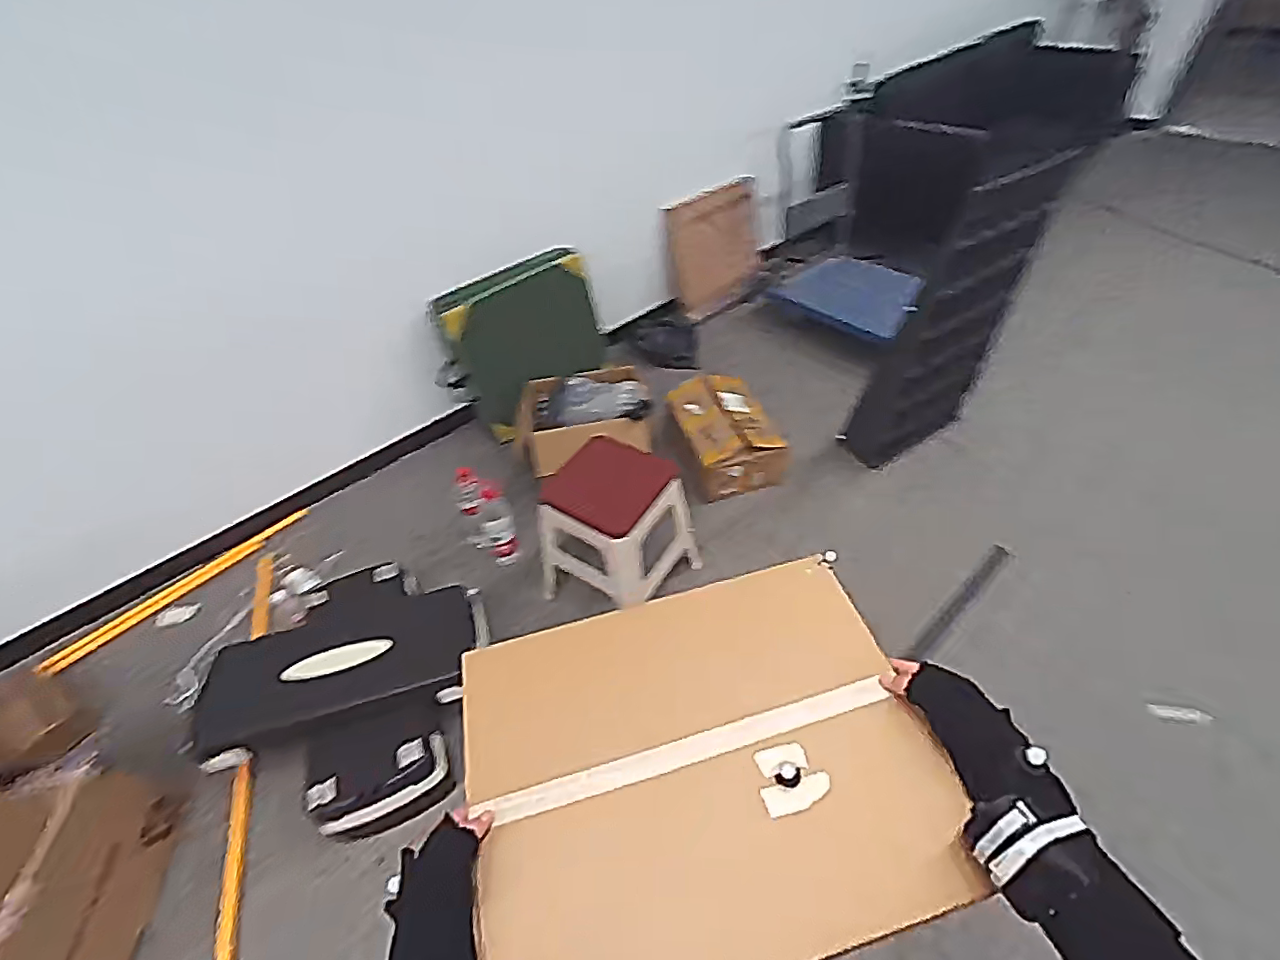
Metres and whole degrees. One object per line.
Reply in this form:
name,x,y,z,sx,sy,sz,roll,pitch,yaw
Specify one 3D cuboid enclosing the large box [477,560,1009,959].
large box,0.067,0.344,0.596,0.408,0.320,0.320,-13,47,-7
